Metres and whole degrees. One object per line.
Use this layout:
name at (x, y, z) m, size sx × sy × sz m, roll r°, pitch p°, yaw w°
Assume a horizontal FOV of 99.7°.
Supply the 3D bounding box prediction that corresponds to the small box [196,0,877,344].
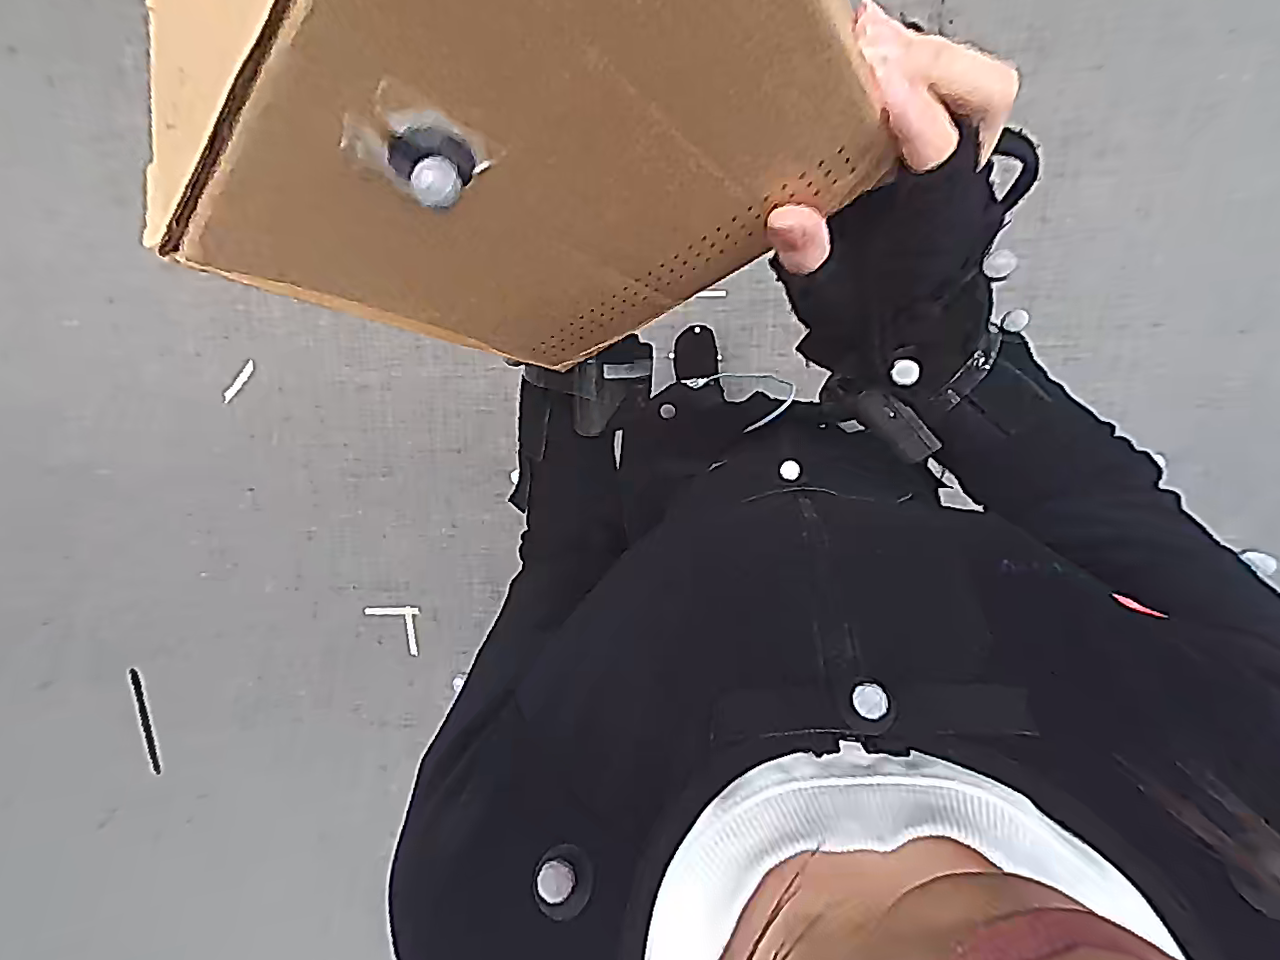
small box at (-0.039, -0.172, 0.204) m, size 0.179 × 0.176 × 0.168 m, roll -21°, pitch 76°, yaw 35°
